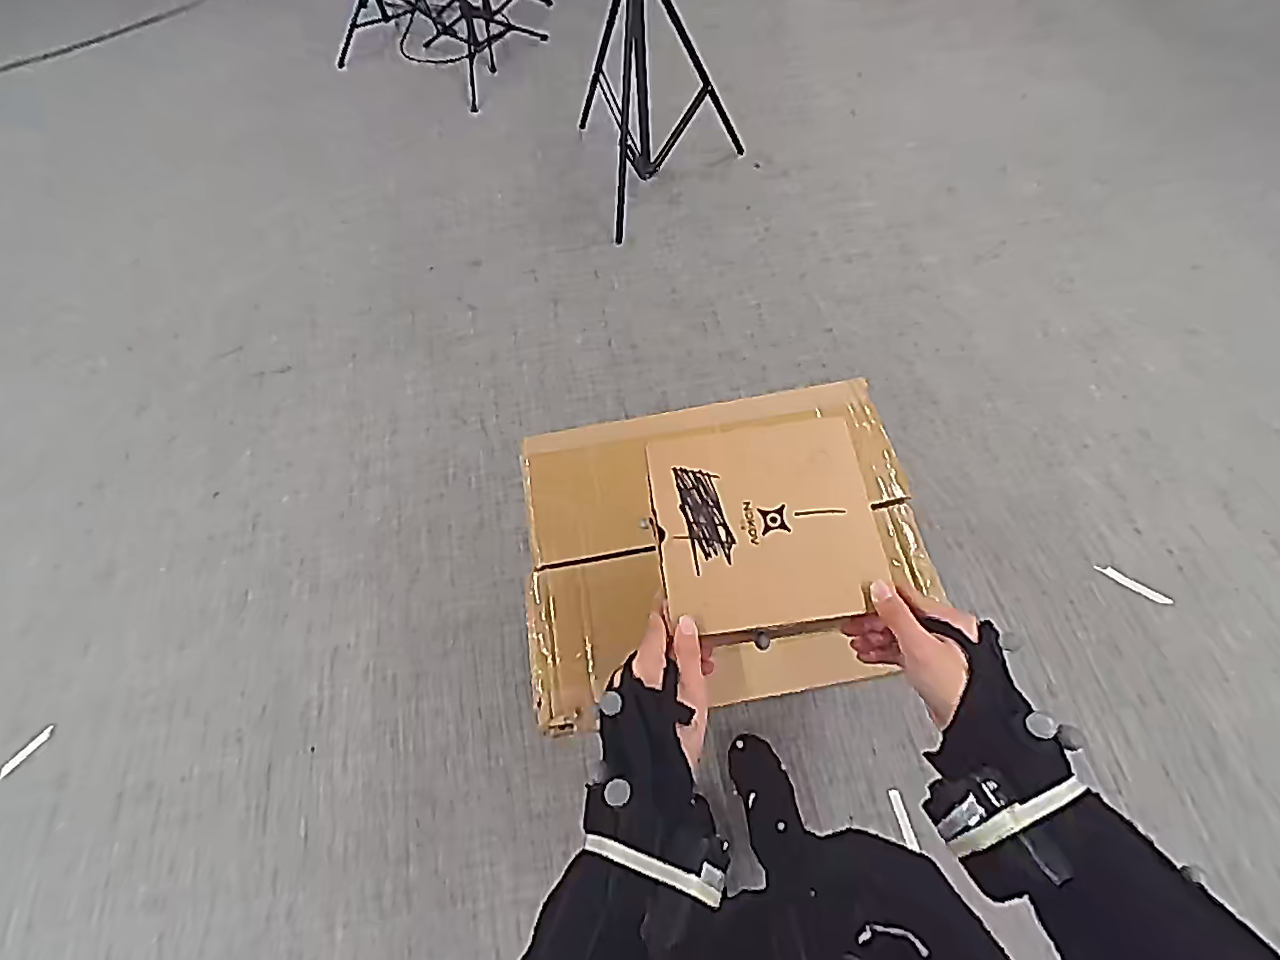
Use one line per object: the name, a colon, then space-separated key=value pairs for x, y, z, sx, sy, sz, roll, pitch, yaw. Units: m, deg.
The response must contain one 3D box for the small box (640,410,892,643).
small box: x=0.101 y=0.055 z=0.510 sx=0.179 sy=0.176 sz=0.168 roll=-8 pitch=69 yaw=0
